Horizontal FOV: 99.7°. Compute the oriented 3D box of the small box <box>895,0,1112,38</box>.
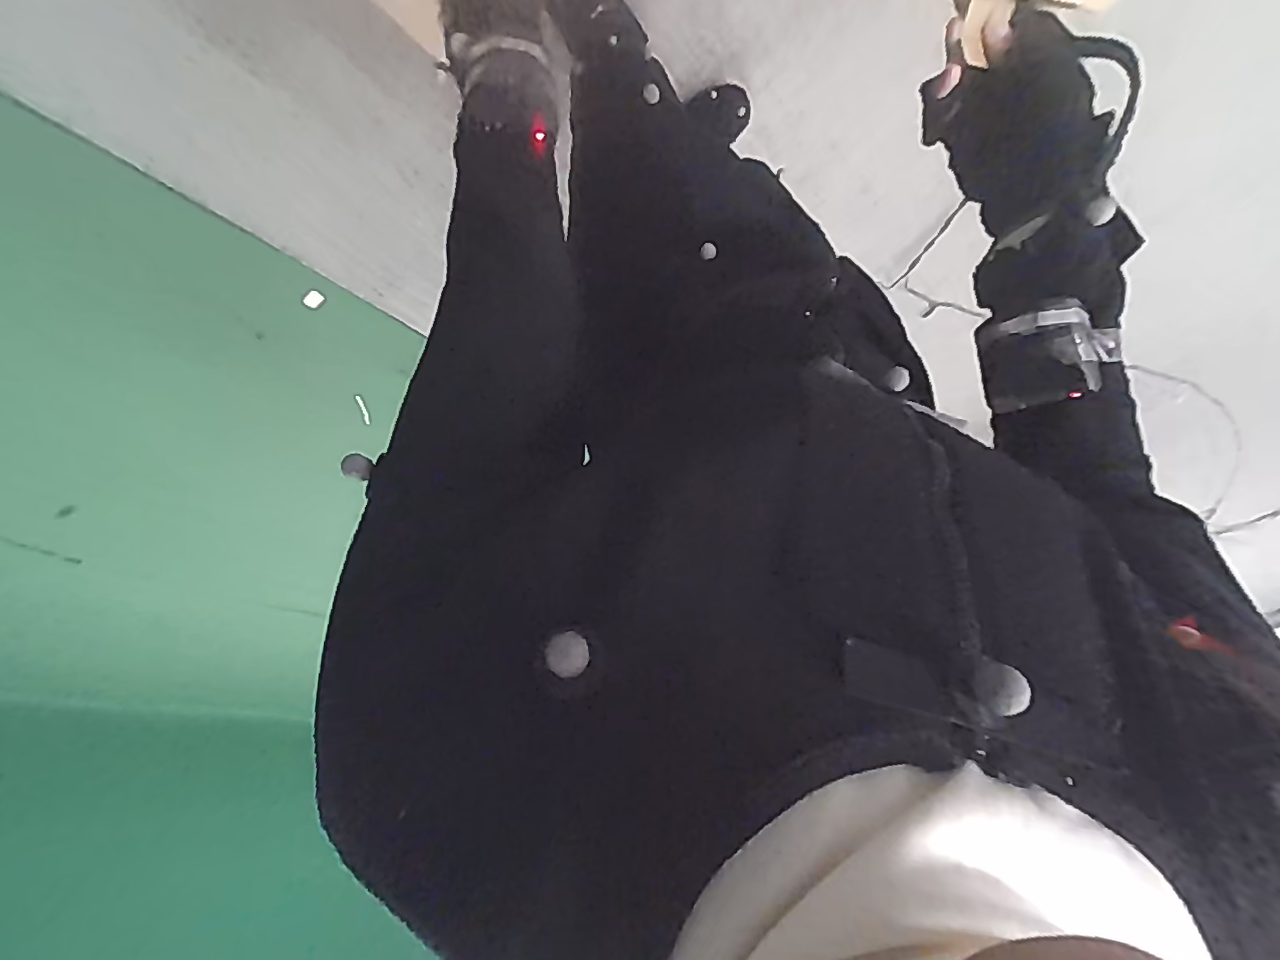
[{"bbox_3d":[0.194,-0.374,0.276,0.168,0.176,0.179,-15,151,-24],"label":"small box"}]
